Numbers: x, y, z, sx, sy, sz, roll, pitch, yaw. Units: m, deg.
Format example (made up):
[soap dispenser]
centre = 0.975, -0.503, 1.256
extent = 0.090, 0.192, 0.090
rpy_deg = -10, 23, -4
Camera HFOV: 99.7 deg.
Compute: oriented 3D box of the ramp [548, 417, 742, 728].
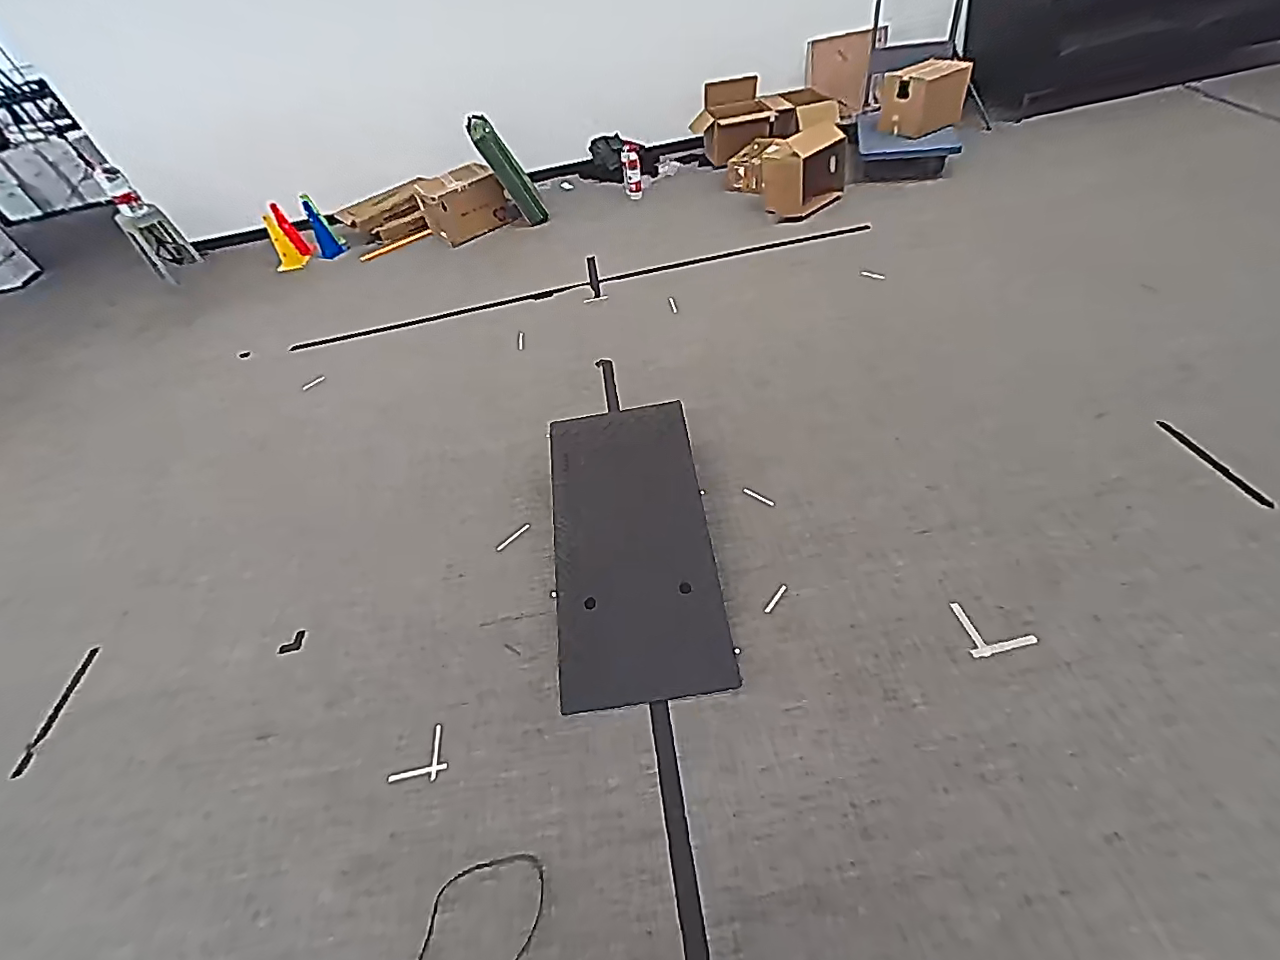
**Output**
[ramp]
centre = -0.031, 0.218, 1.724
extent = 0.509, 0.206, 0.991
rpy_deg = -11, 46, 0
